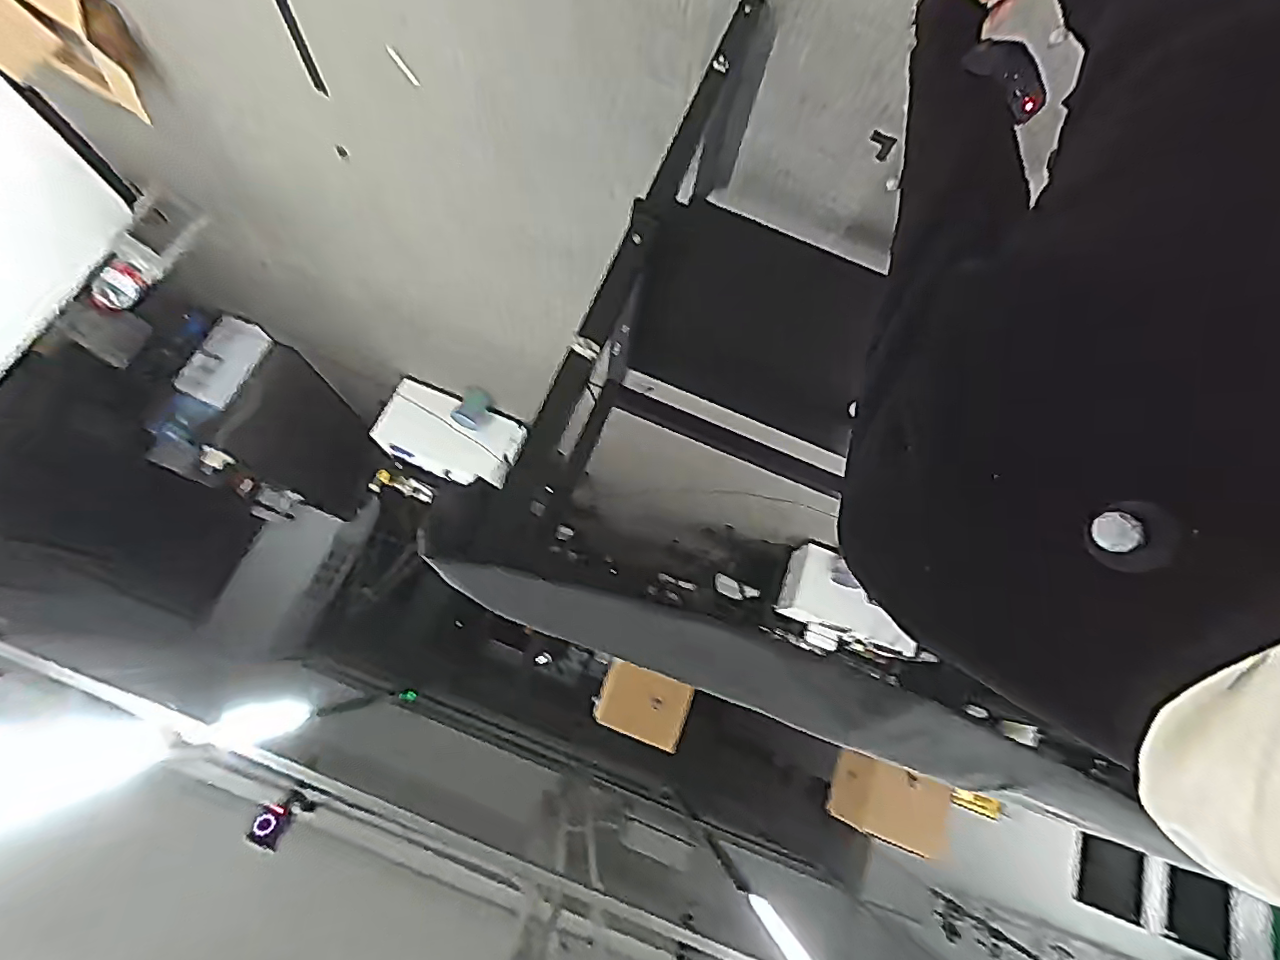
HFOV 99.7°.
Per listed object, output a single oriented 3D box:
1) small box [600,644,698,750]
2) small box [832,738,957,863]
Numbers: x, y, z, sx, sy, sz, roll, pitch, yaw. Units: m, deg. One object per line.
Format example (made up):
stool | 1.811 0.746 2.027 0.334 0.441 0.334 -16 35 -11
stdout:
small box | 0.018 0.472 1.202 0.168 0.176 0.179 21 162 1
small box | 0.554 0.686 1.183 0.179 0.176 0.168 22 162 3
